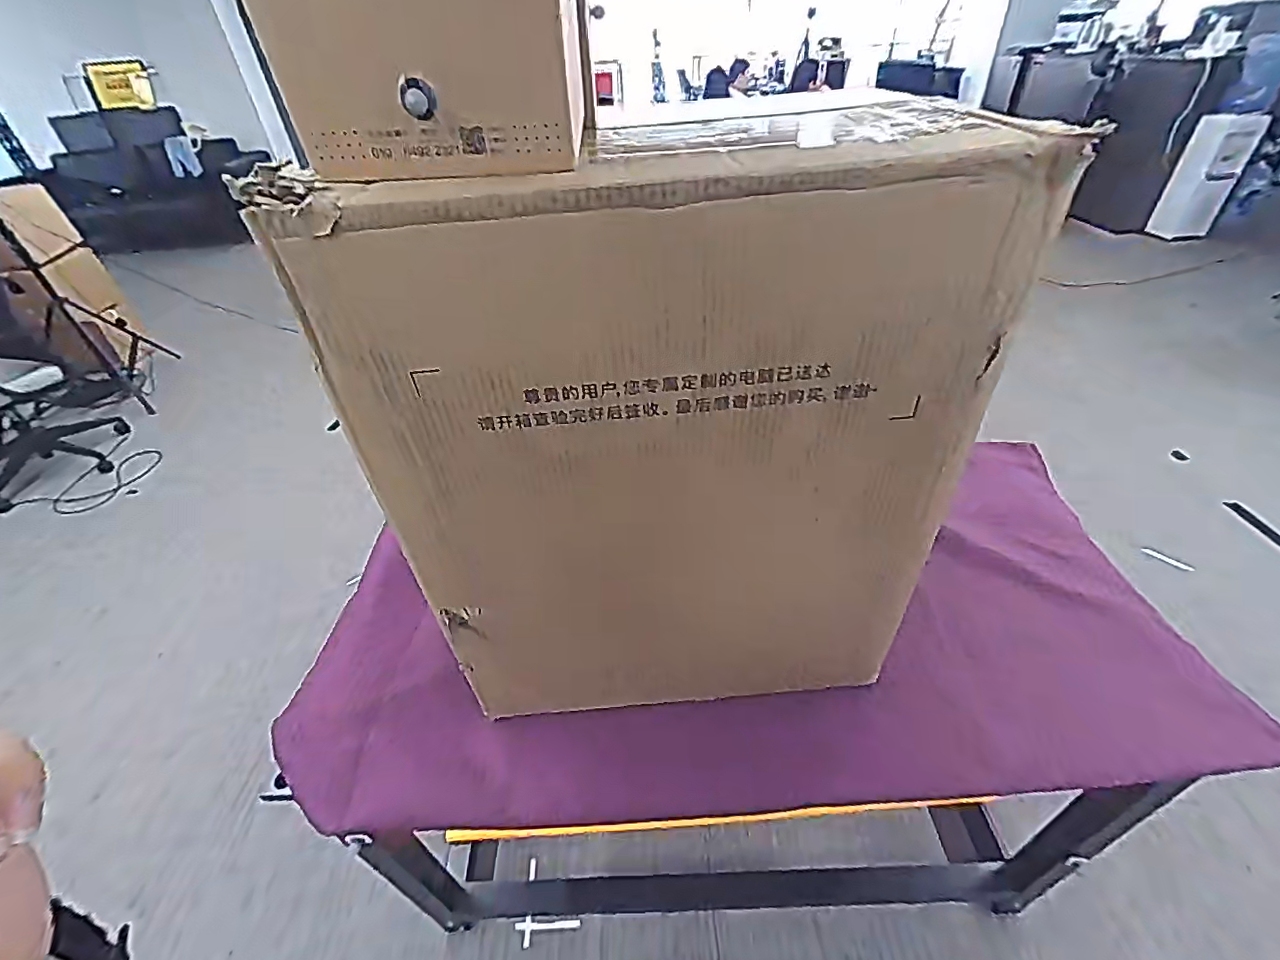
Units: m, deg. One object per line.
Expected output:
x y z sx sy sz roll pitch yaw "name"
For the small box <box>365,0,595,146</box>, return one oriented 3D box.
-0.132 -0.414 0.488 0.179 0.176 0.168 -4 39 -2 "small box"
